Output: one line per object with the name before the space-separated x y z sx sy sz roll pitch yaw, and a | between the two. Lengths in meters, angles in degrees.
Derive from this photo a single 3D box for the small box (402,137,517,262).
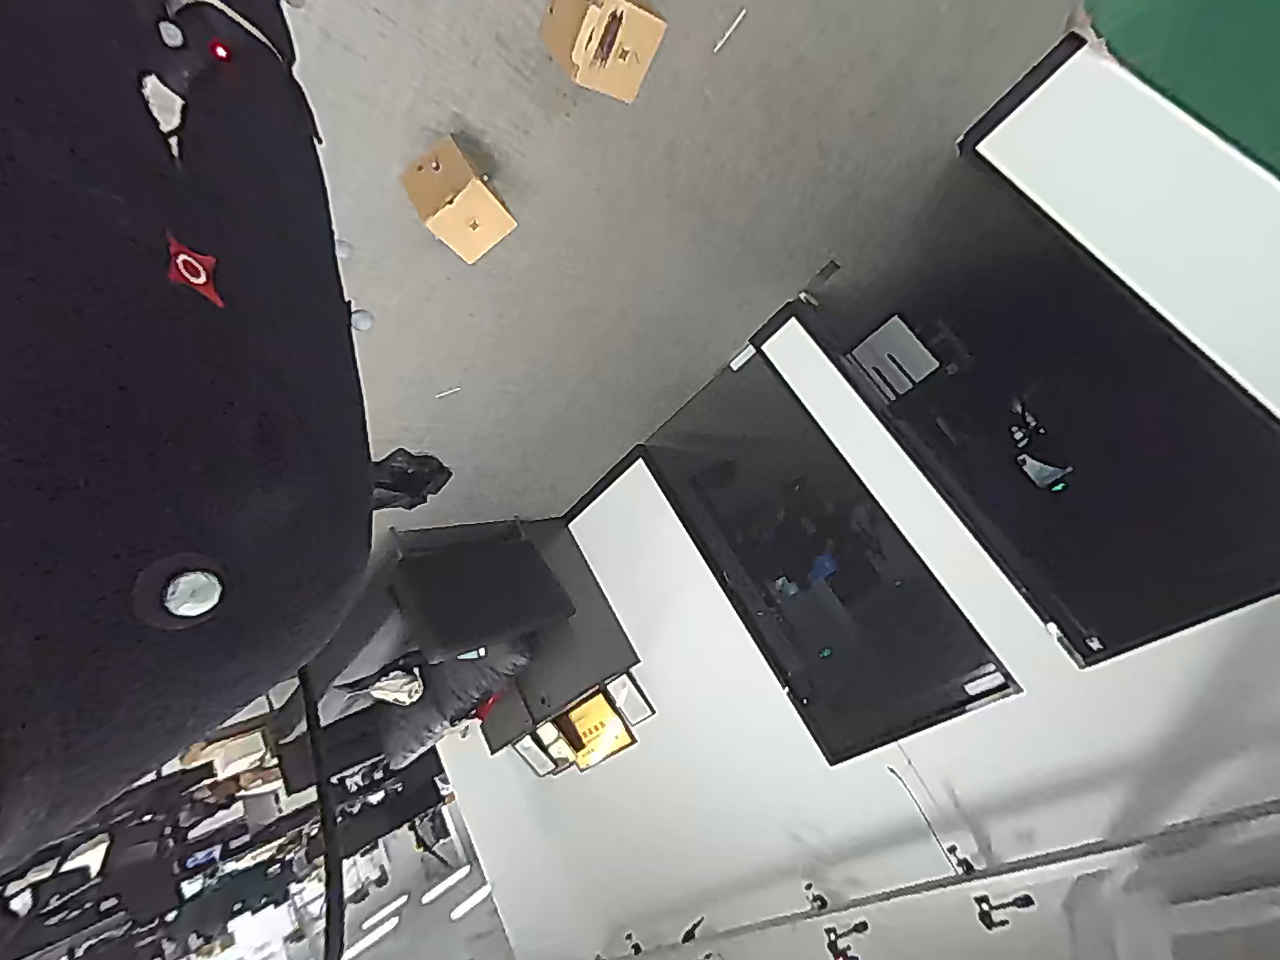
small box | -0.438 -0.681 1.319 0.168 0.176 0.179 -34 161 11
